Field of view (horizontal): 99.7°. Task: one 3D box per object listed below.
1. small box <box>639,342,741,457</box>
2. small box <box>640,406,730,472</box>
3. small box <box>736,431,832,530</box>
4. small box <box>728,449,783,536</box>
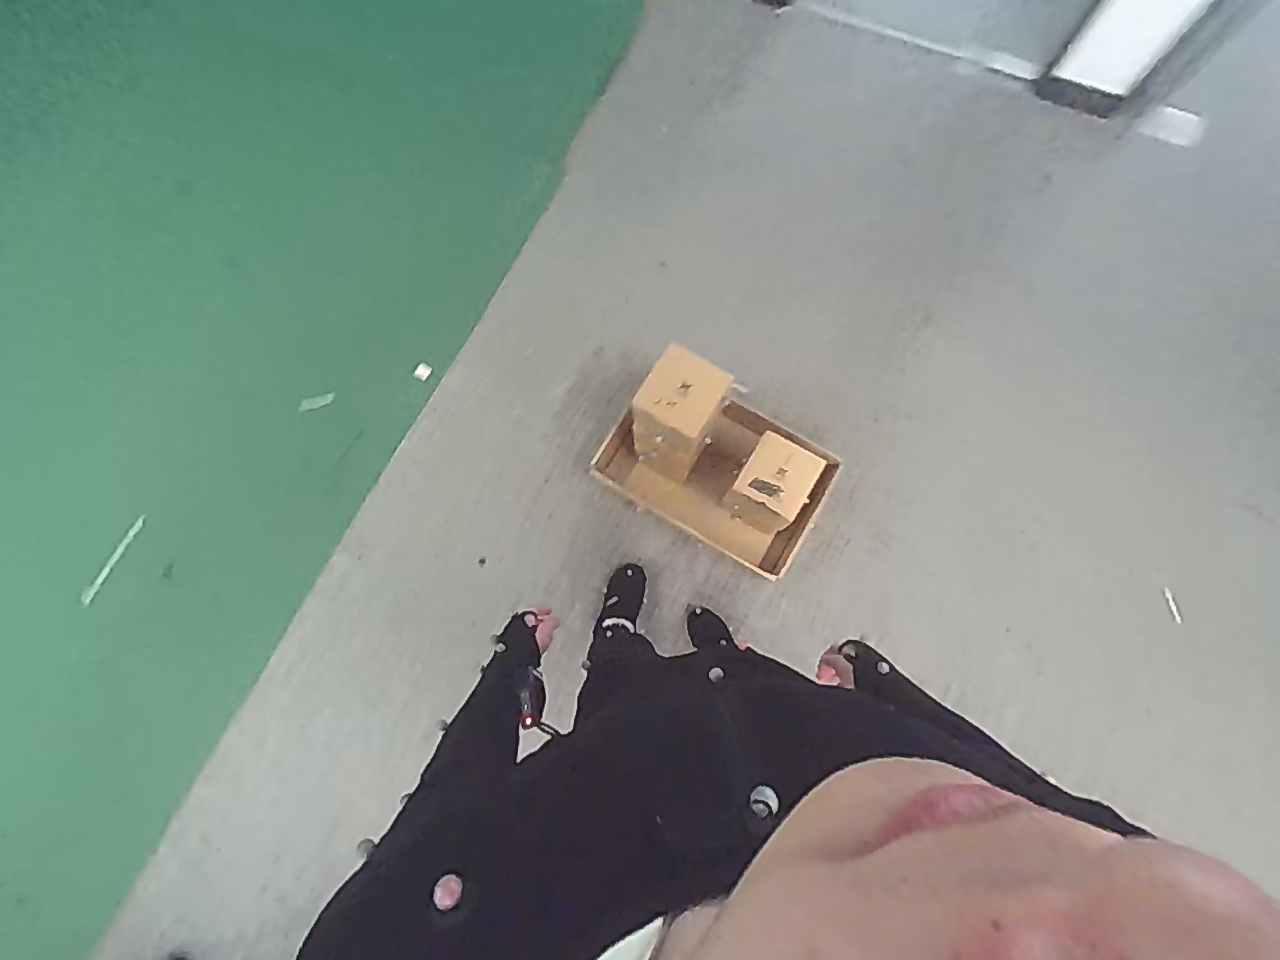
[{"bbox_3d":[0.111,-0.180,1.263,0.168,0.176,0.179,32,82,9],"label":"small box"},{"bbox_3d":[0.113,-0.144,1.424,0.168,0.176,0.179,32,82,8],"label":"small box"},{"bbox_3d":[0.356,0.009,1.373,0.168,0.176,0.179,31,81,11],"label":"small box"},{"bbox_3d":[0.361,0.040,1.534,0.168,0.176,0.179,31,83,11],"label":"small box"}]
